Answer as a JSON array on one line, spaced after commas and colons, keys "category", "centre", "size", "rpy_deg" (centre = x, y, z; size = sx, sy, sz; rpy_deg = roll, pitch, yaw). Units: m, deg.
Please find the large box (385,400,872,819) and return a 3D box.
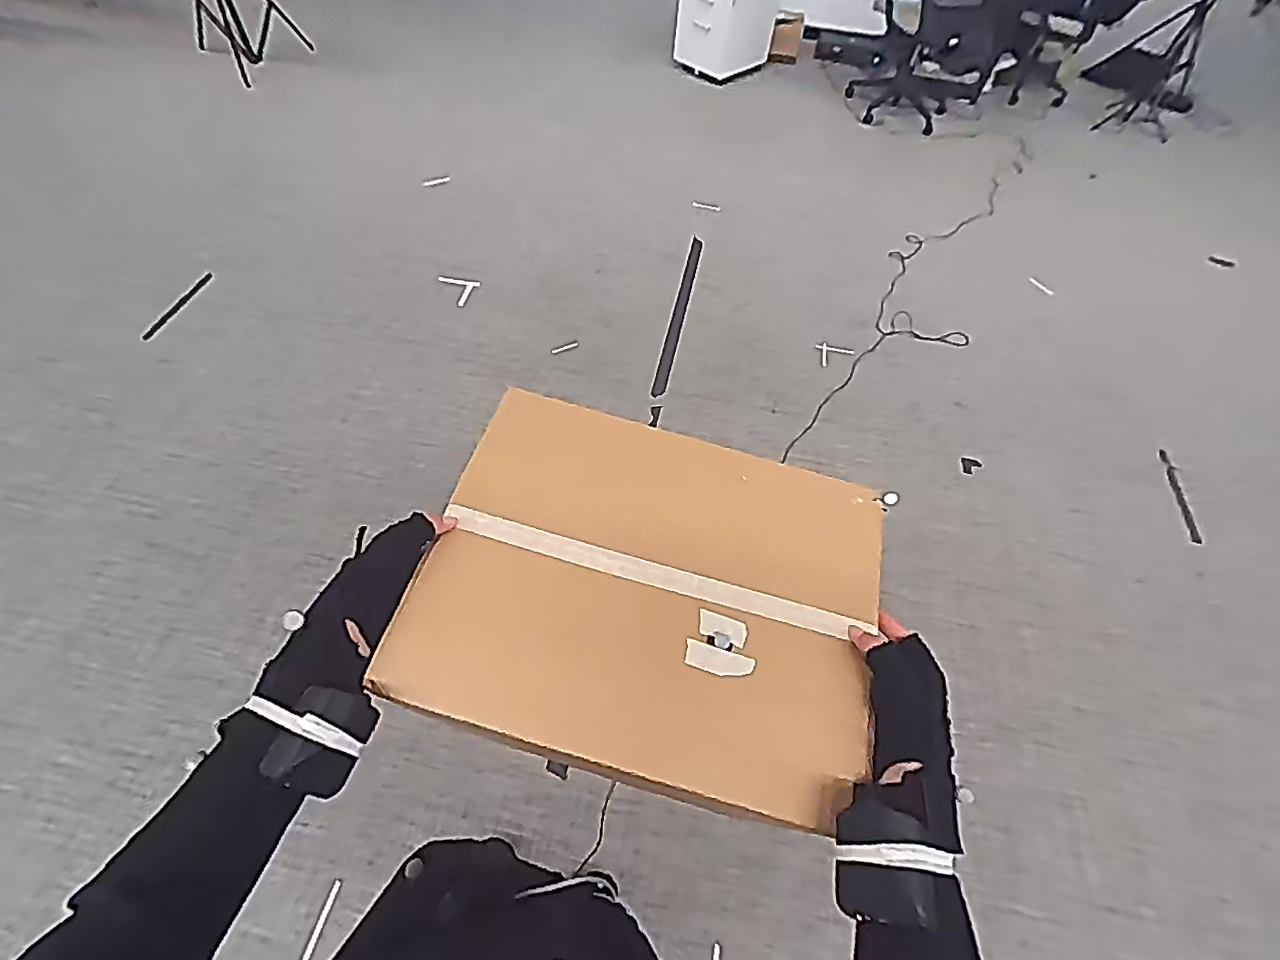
[{"category": "large box", "centre": [0.000, 0.161, 0.631], "size": [0.408, 0.320, 0.320], "rpy_deg": [16, 61, 1]}]
